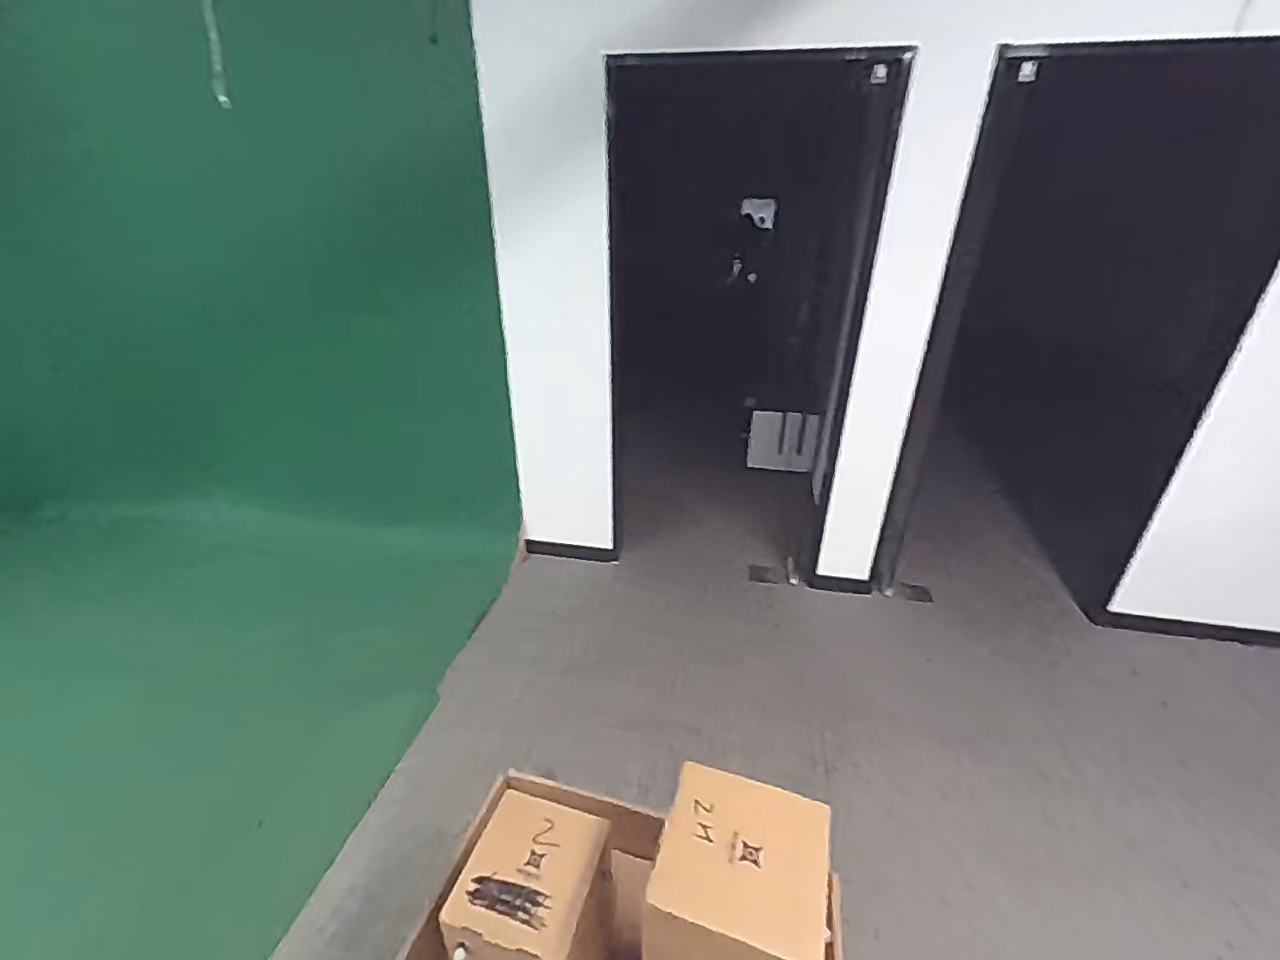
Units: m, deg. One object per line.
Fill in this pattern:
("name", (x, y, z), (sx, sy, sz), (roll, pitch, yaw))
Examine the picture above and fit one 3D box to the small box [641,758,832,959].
("small box", (0.111, 0.463, 0.614), (0.179, 0.176, 0.168), (8, 28, 19))
